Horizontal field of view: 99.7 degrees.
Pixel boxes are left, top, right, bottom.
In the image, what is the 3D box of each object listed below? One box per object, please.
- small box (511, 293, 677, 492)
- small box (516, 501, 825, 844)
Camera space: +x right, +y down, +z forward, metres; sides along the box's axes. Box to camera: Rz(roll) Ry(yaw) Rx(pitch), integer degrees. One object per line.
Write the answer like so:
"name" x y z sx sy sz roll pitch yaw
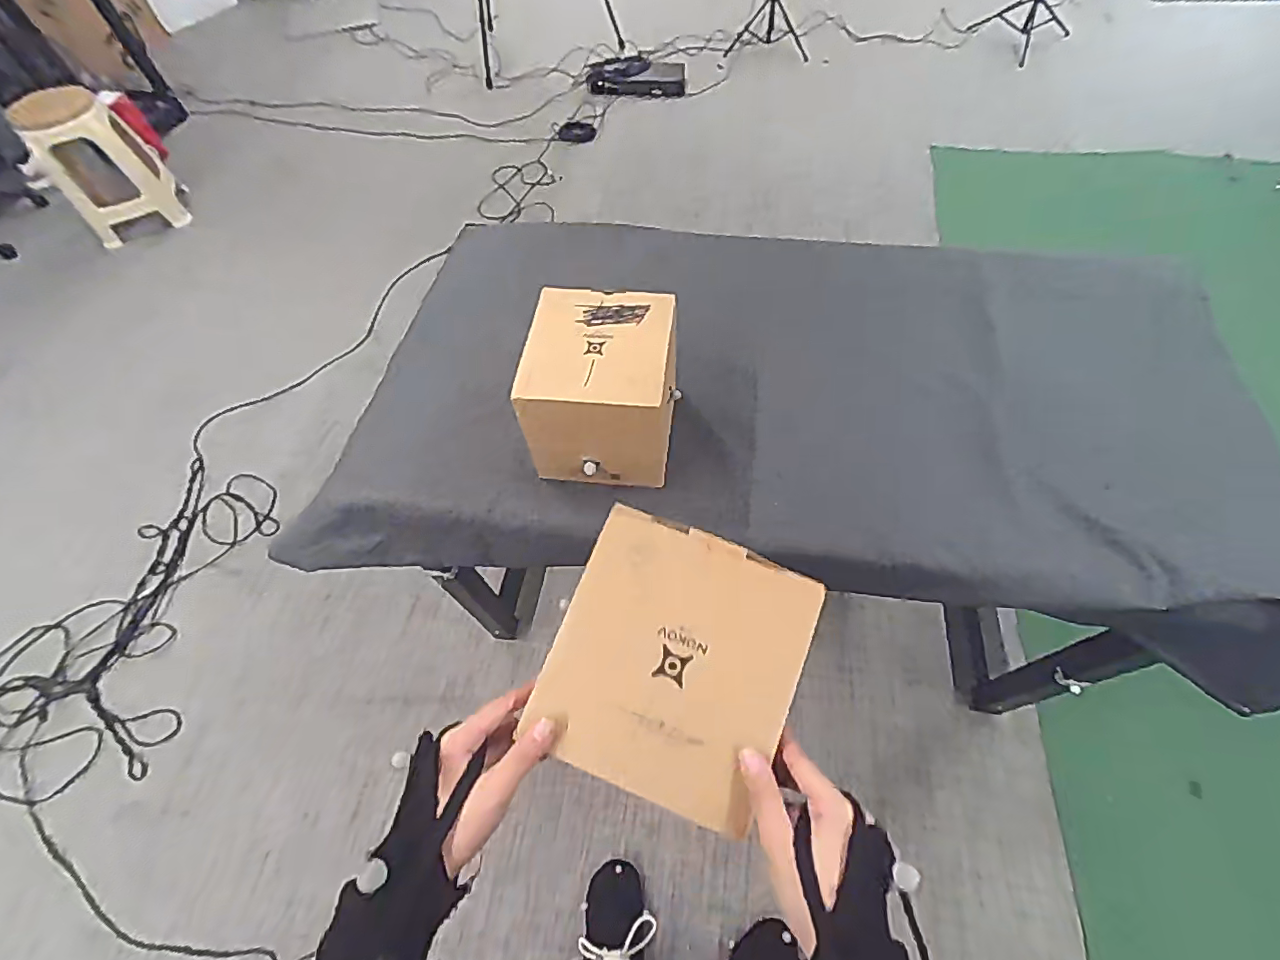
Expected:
"small box" -0.045 -0.107 0.678 0.168 0.176 0.179 4 59 6
"small box" 0.025 0.141 0.440 0.168 0.176 0.179 20 76 7
